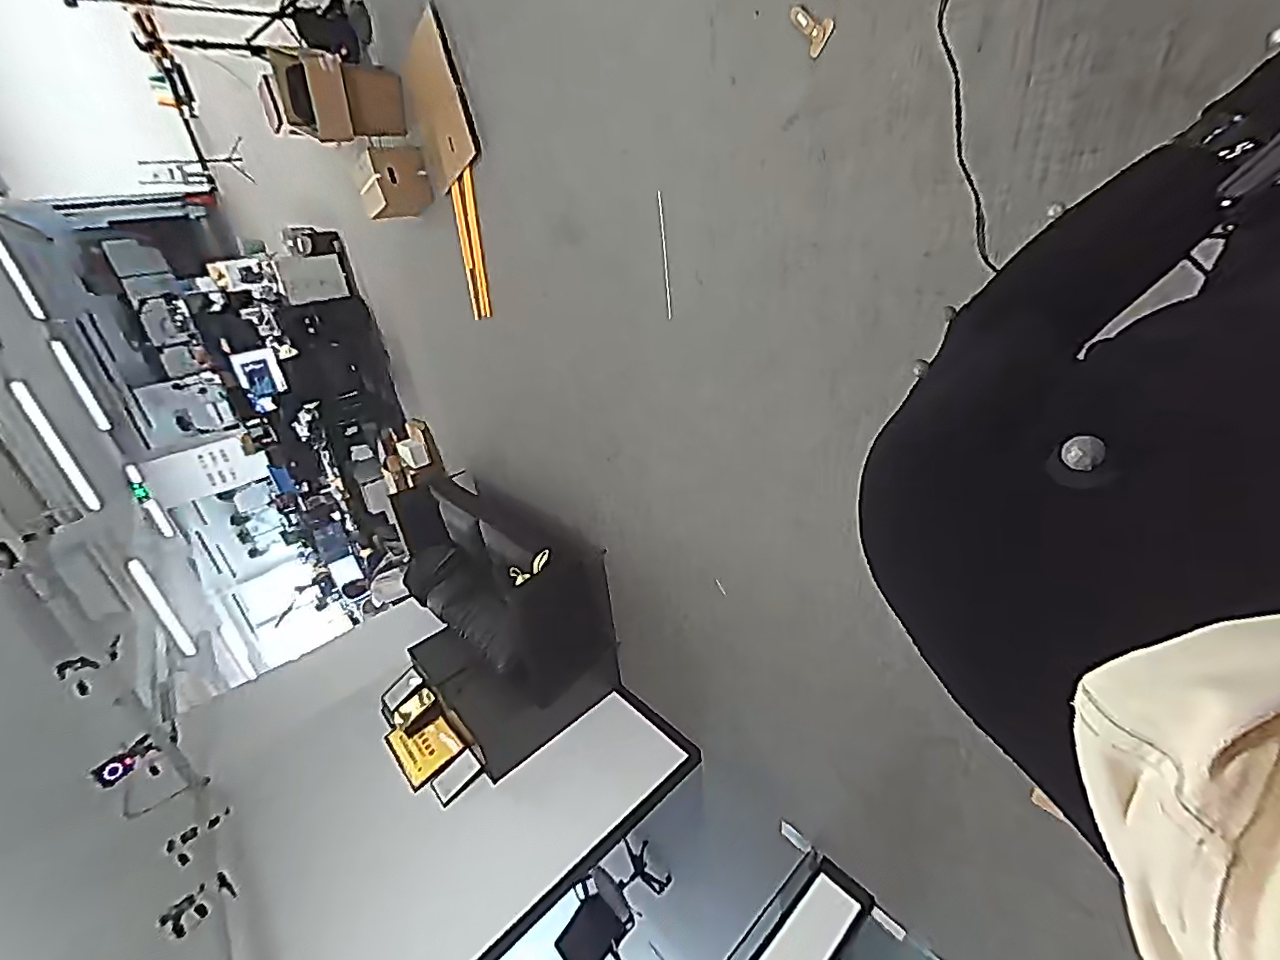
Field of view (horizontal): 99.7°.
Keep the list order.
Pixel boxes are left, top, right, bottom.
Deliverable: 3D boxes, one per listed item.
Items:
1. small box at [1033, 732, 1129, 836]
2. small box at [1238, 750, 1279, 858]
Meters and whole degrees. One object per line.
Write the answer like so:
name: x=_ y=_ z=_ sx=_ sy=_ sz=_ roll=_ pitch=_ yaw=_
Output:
small box: x=1.321 y=0.900 z=1.617 sx=0.168 sy=0.176 sz=0.179 roll=26 pitch=132 yaw=43
small box: x=1.533 y=0.769 z=1.237 sx=0.168 sy=0.176 sz=0.179 roll=24 pitch=131 yaw=44
